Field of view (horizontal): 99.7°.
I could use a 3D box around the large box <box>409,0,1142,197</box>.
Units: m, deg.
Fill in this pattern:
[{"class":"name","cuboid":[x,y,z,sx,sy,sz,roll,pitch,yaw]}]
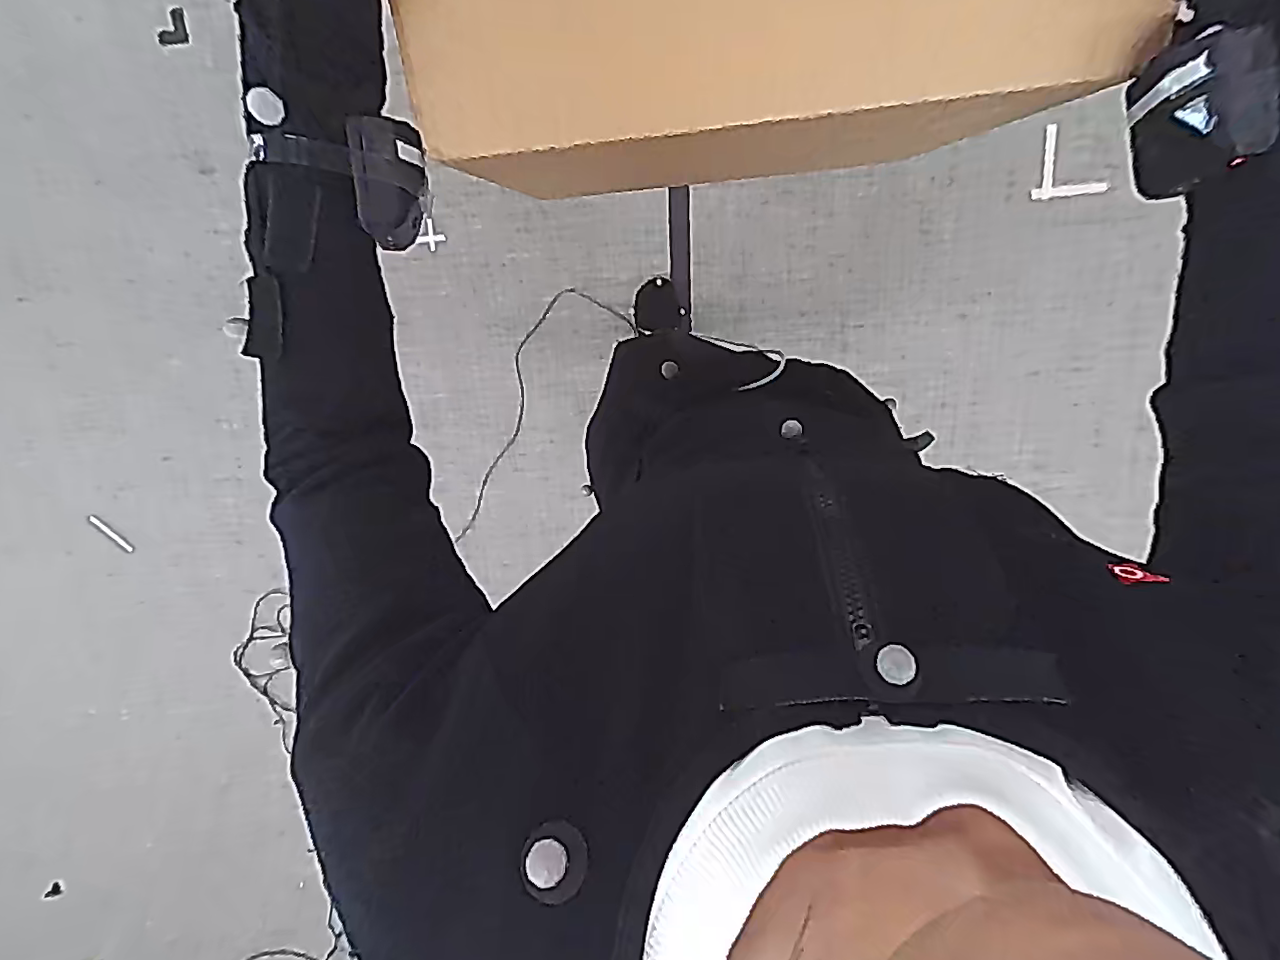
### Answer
[{"class":"large box","cuboid":[0.061,-0.414,0.391,0.408,0.320,0.320,-5,114,3]}]
